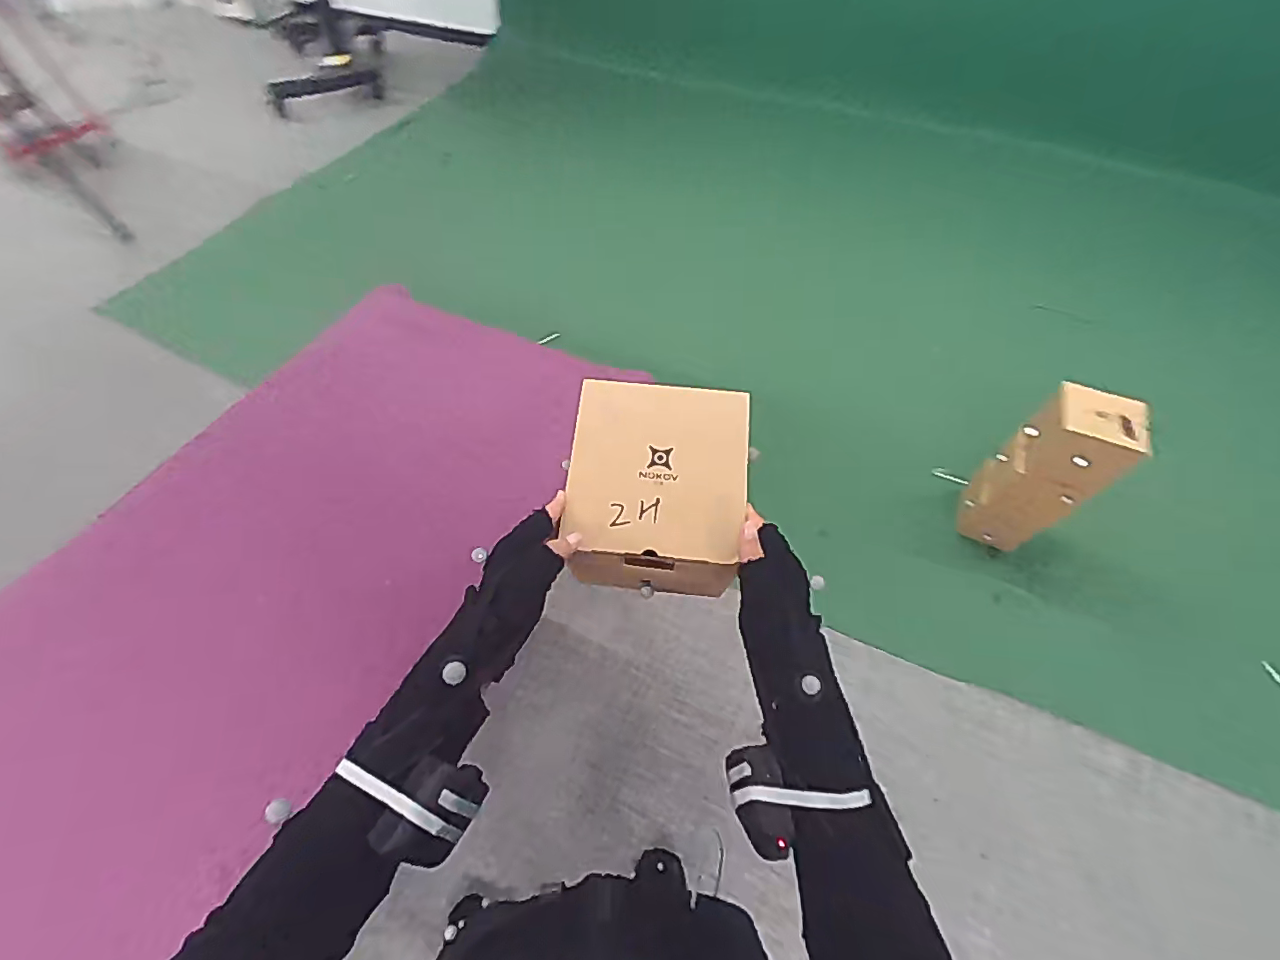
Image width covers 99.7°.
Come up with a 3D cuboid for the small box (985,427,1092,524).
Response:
[{"bbox_3d":[1.061,-0.006,1.447,0.179,0.176,0.168,21,59,13],"label":"small box"}]

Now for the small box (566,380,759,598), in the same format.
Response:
[{"bbox_3d":[0.026,0.018,0.574,0.168,0.176,0.179,5,69,4],"label":"small box"}]

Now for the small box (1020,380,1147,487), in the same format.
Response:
[{"bbox_3d":[1.072,-0.106,1.313,0.179,0.176,0.168,23,57,14],"label":"small box"}]
